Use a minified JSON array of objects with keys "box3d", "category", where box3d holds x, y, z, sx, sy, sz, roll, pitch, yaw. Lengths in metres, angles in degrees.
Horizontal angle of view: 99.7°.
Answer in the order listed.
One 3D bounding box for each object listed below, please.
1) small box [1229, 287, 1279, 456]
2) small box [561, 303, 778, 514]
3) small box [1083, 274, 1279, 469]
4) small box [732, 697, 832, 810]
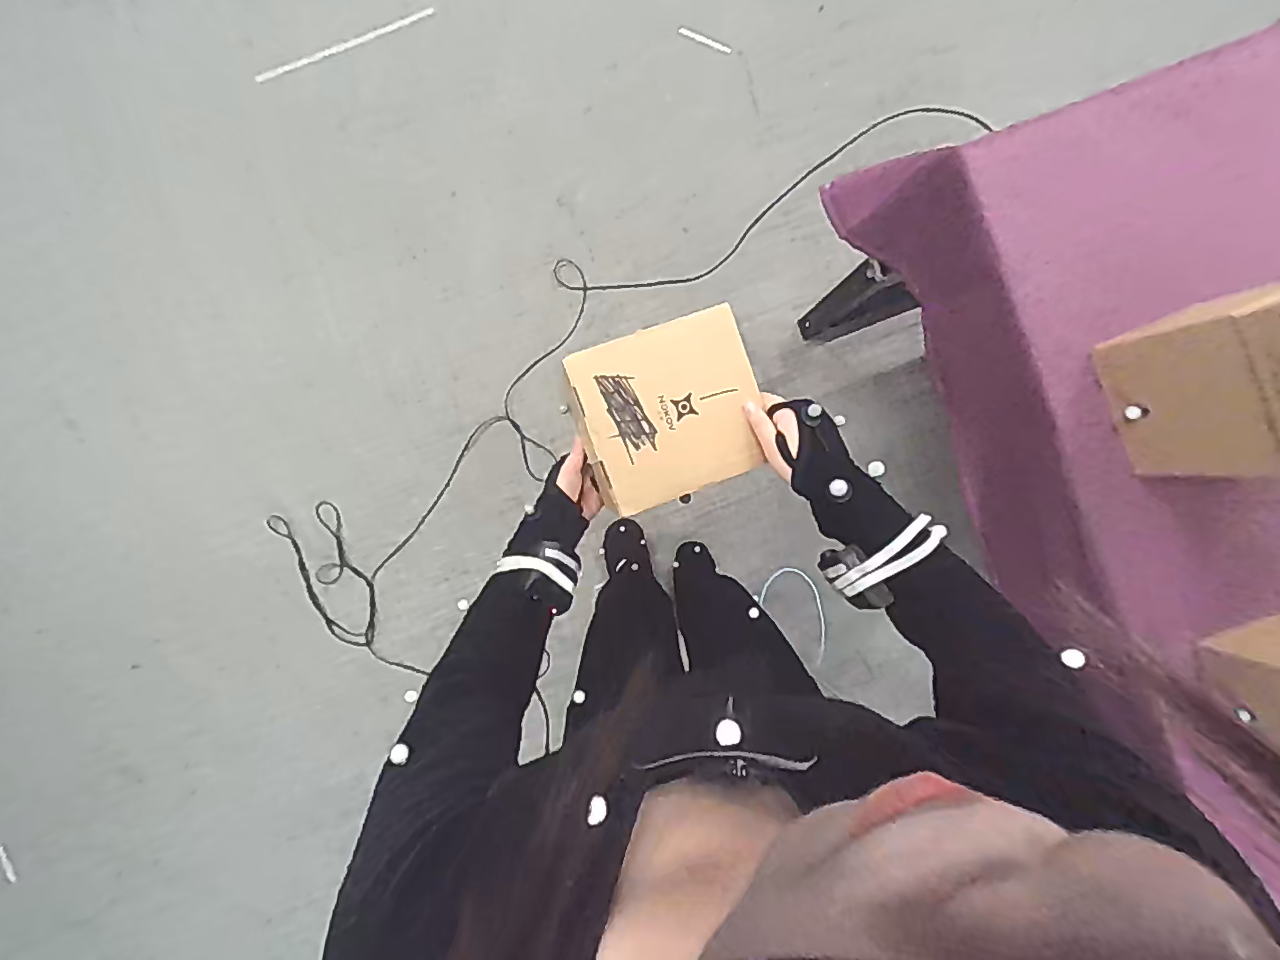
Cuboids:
[{"box3d":[0.684,-0.122,0.456,0.179,0.176,0.168,-21,91,-1],"category":"small box"},{"box3d":[0.020,-0.071,0.599,0.179,0.176,0.168,-20,95,-10],"category":"small box"},{"box3d":[0.673,-0.124,0.621,0.168,0.176,0.179,-23,92,-2],"category":"small box"},{"box3d":[0.348,0.671,1.357,0.168,0.176,0.179,-23,92,-1],"category":"small box"}]
